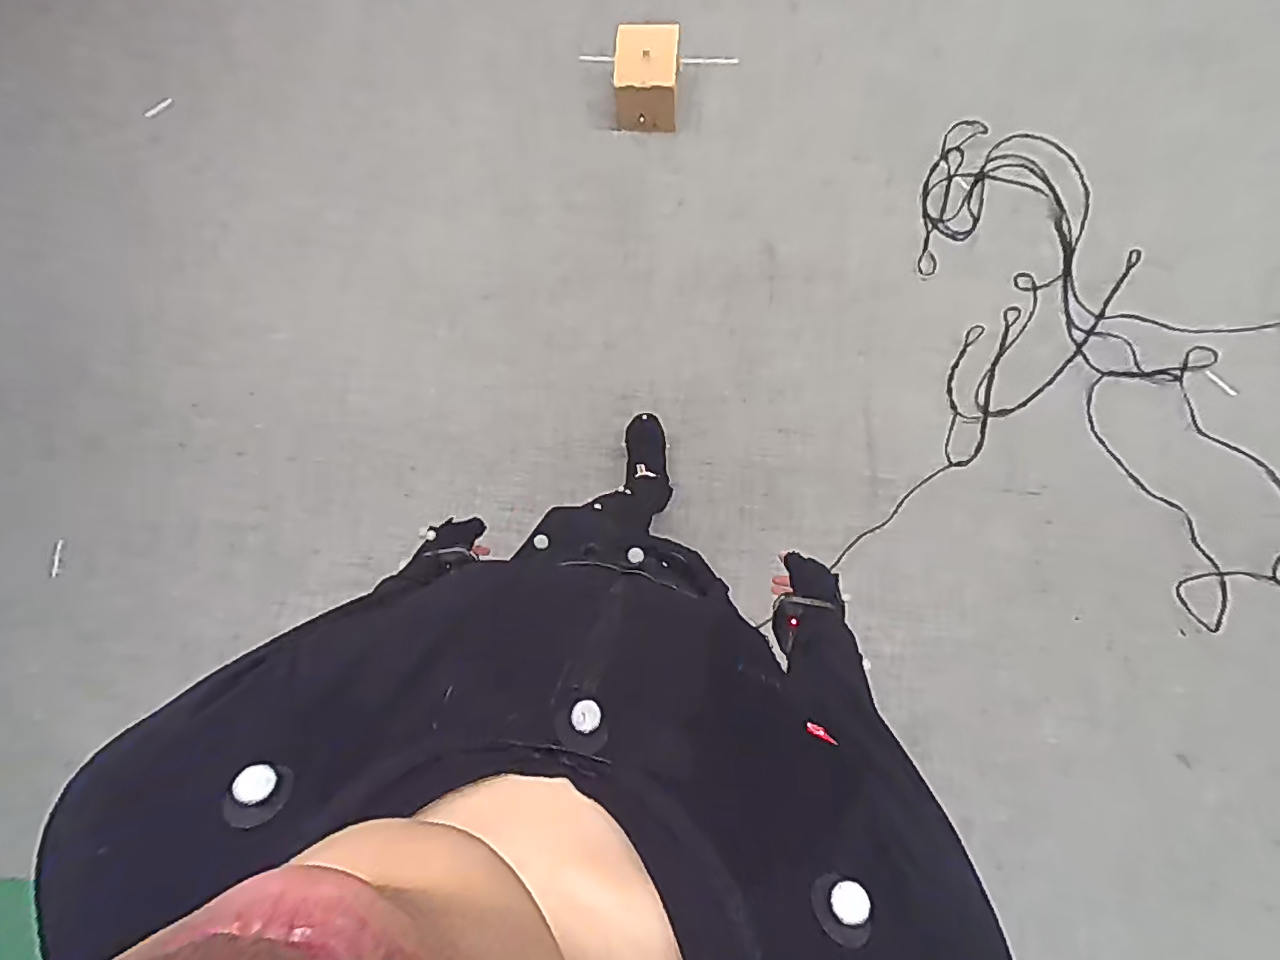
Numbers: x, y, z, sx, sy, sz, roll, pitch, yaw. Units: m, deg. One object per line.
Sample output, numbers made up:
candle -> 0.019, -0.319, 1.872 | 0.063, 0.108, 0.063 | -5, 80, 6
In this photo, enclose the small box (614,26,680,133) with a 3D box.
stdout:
small box -> 0.023, -1.106, 1.501 | 0.168, 0.176, 0.179 | 4, 86, 4
